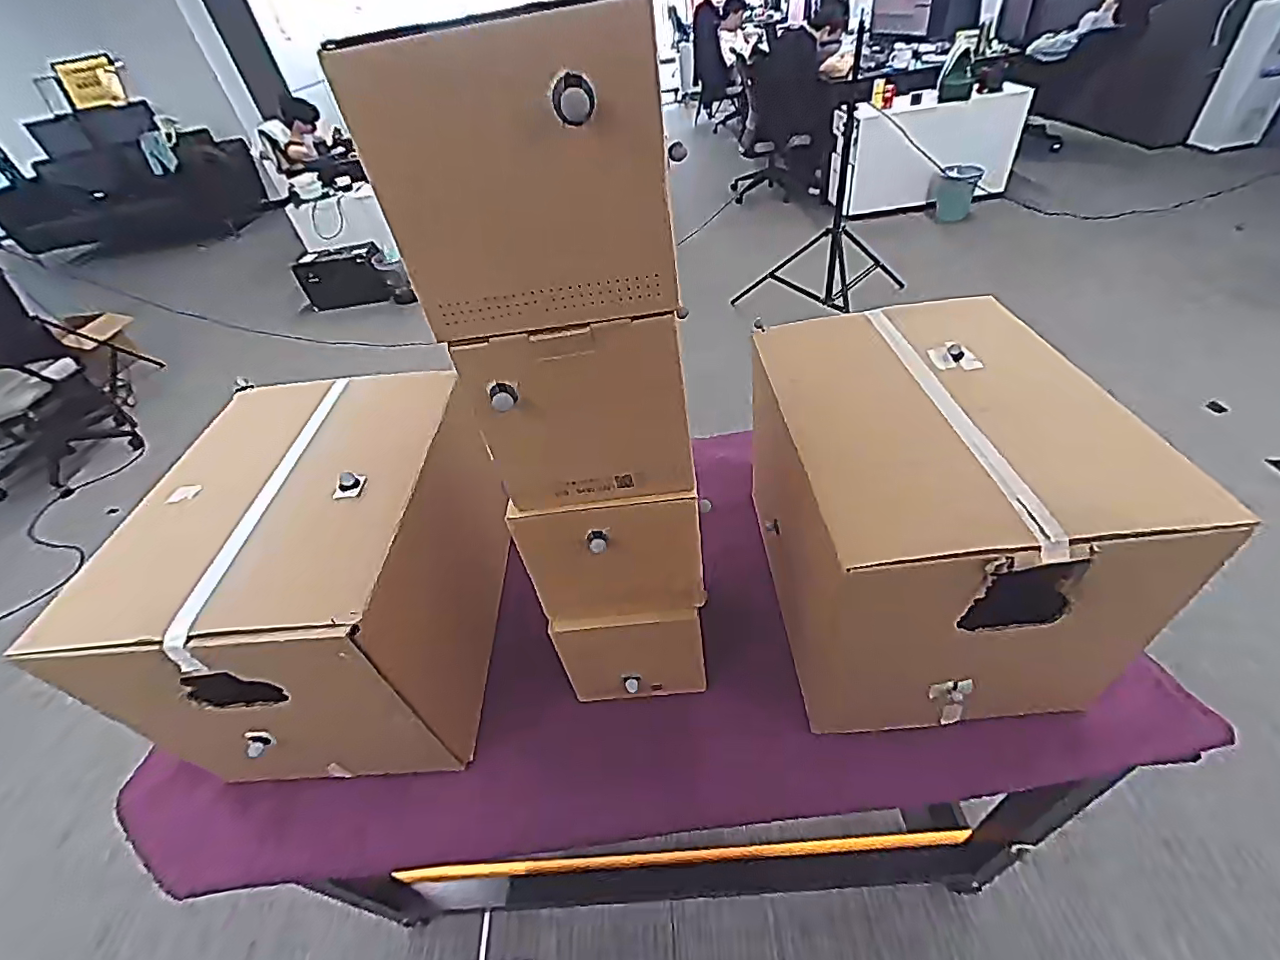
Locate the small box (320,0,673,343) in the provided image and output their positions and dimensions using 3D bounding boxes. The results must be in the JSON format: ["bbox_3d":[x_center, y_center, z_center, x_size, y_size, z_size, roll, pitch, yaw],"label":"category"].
[{"bbox_3d":[-0.069,-0.216,0.383,0.179,0.176,0.168,-7,40,5],"label":"small box"}]

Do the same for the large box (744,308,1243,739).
[{"bbox_3d":[0.322,0.039,0.661,0.320,0.320,0.408,-7,41,3],"label":"large box"}]
